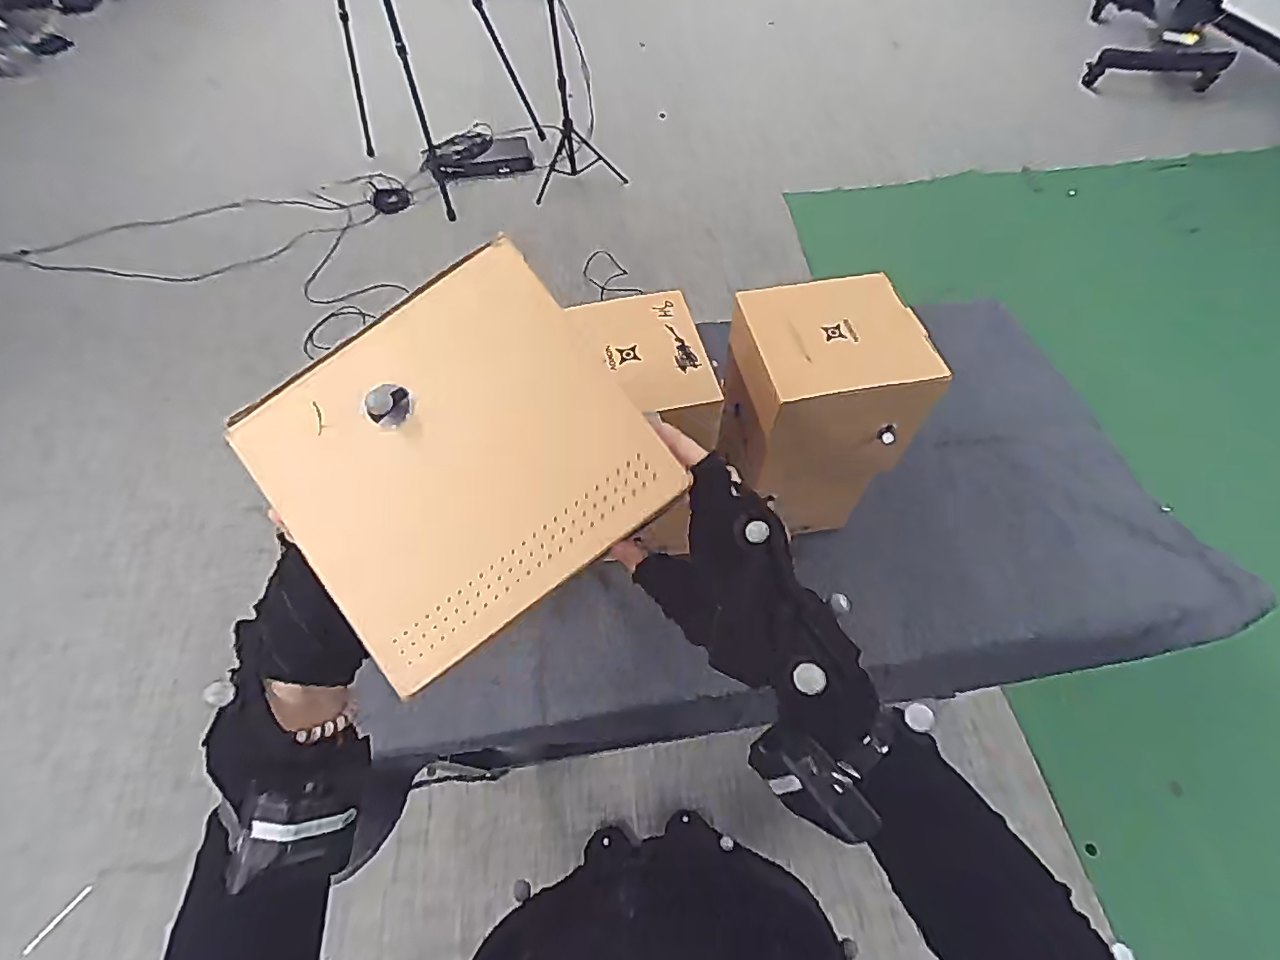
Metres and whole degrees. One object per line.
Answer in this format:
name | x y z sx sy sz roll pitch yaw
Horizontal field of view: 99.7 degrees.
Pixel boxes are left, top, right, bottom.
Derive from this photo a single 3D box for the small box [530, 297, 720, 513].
small box | -0.017 -0.079 0.628 0.179 0.176 0.168 -12 59 -5
